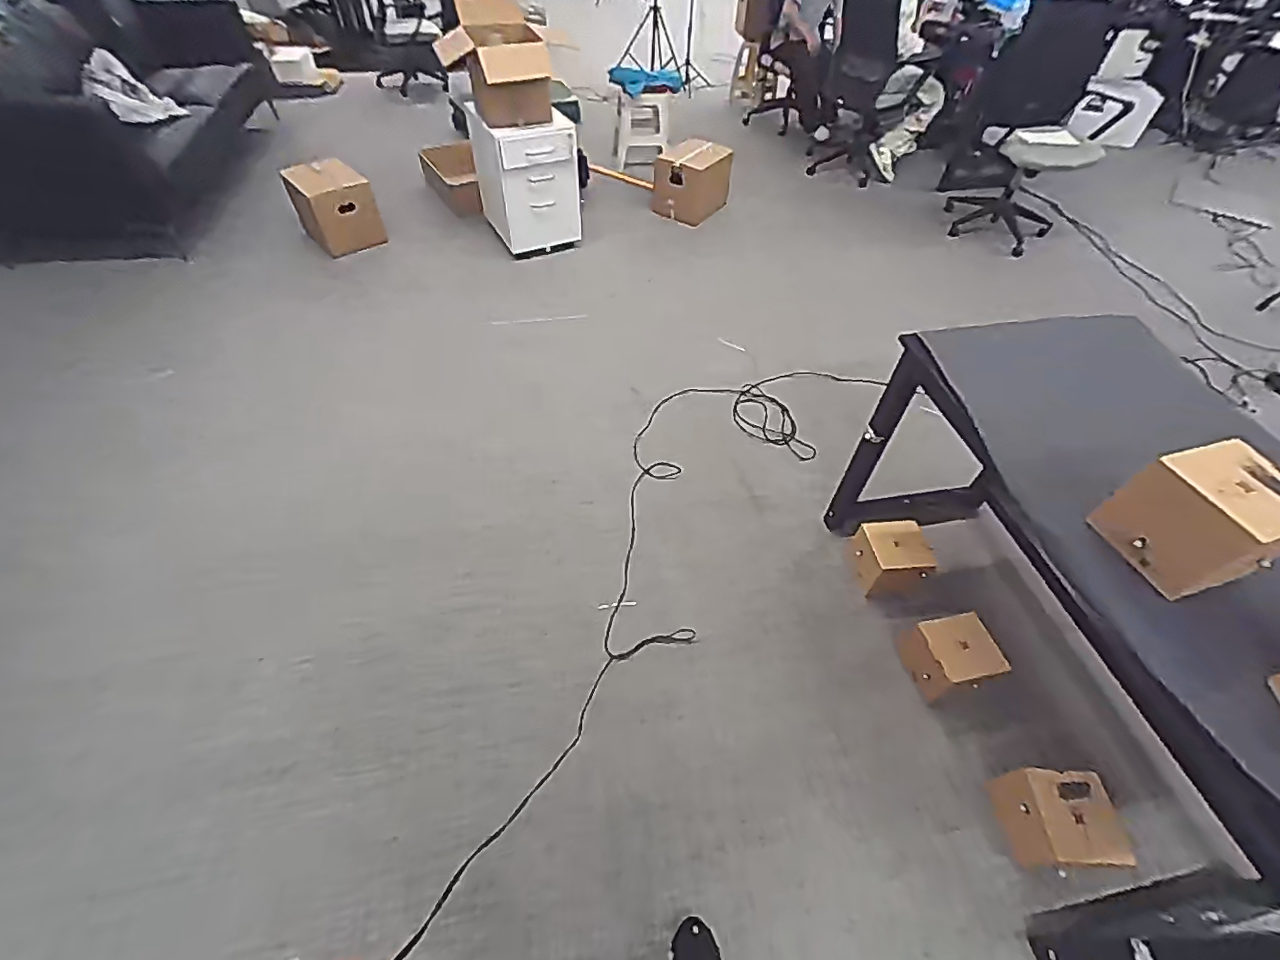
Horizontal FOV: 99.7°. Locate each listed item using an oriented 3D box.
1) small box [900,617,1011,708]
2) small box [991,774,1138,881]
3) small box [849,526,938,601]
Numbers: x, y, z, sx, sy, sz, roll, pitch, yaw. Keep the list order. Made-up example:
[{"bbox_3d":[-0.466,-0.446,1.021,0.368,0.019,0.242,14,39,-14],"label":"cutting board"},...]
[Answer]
[{"bbox_3d":[0.830,0.494,1.453,0.179,0.176,0.168,-8,50,-10],"label":"small box"},{"bbox_3d":[0.930,0.779,1.209,0.168,0.176,0.179,3,51,1],"label":"small box"},{"bbox_3d":[0.762,0.259,1.656,0.179,0.176,0.168,-3,49,-5],"label":"small box"}]
